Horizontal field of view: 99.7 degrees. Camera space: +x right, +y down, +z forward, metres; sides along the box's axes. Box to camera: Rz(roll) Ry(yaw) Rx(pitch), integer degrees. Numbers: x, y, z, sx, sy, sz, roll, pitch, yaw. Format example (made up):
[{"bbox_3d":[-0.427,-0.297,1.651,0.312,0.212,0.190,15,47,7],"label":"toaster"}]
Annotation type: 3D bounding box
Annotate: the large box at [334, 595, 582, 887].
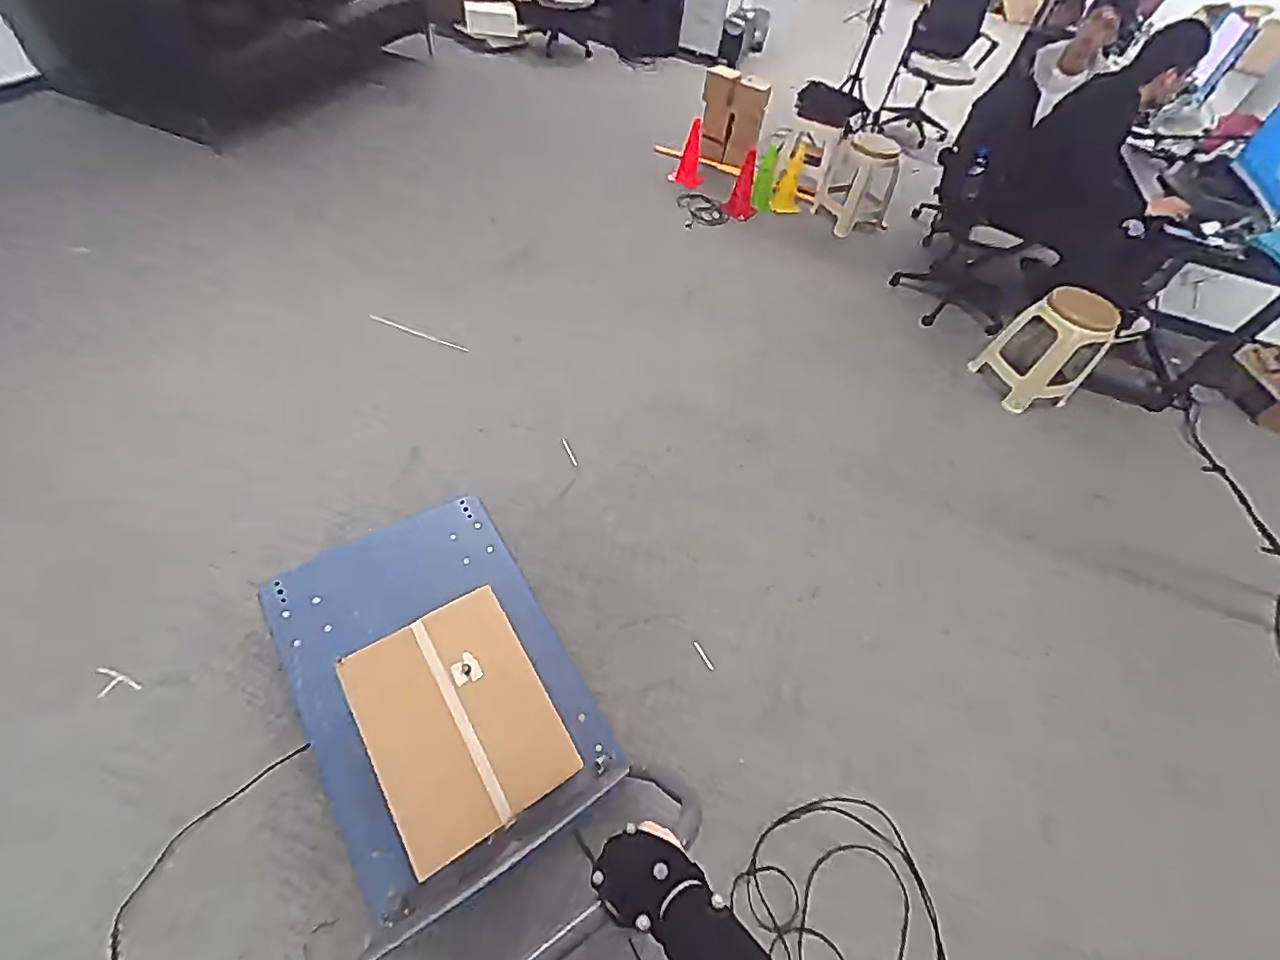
[{"bbox_3d":[-0.360,0.524,1.124,0.320,0.320,0.408,-26,68,-24],"label":"large box"}]
